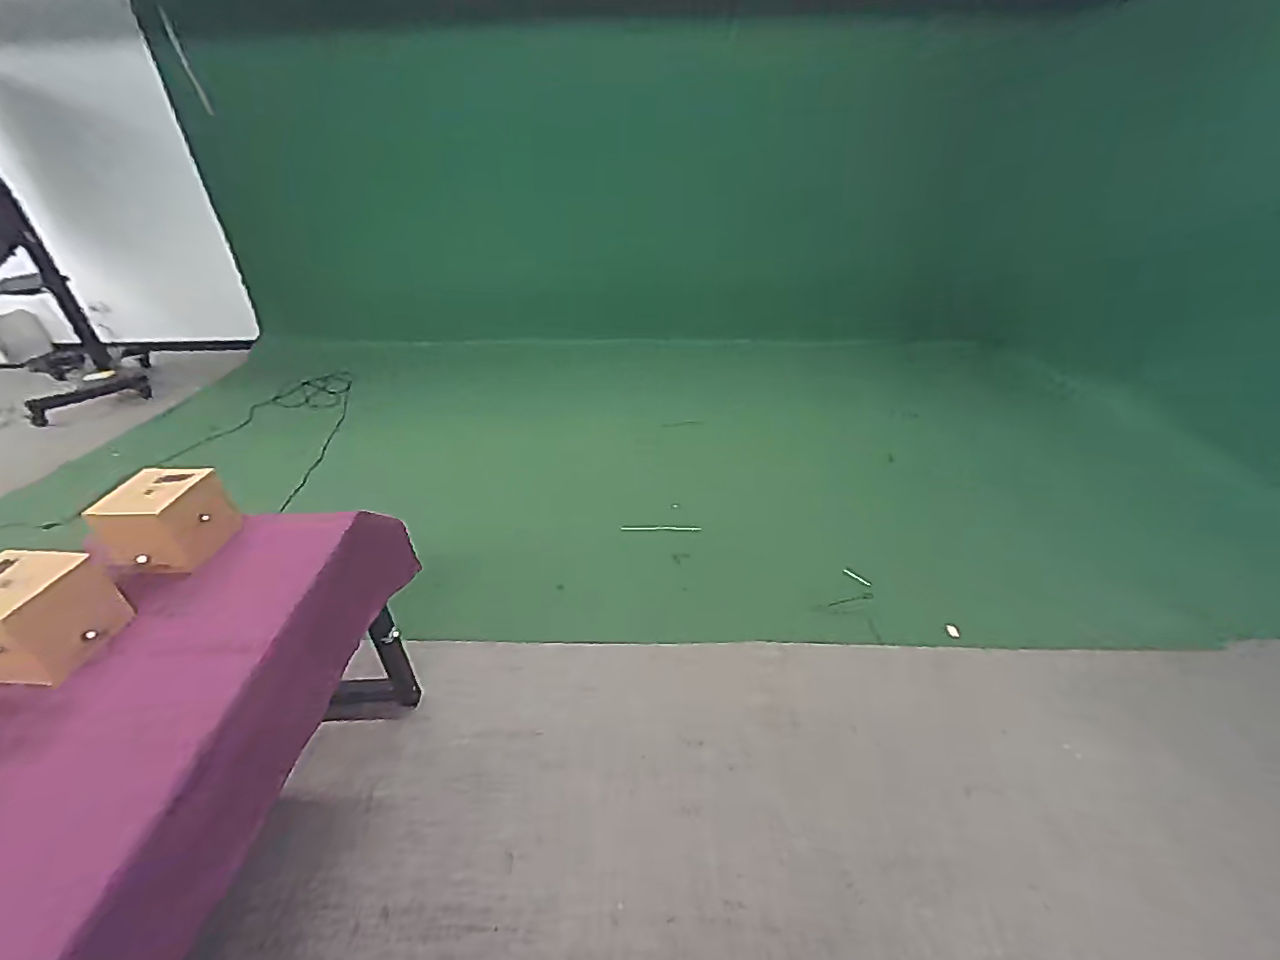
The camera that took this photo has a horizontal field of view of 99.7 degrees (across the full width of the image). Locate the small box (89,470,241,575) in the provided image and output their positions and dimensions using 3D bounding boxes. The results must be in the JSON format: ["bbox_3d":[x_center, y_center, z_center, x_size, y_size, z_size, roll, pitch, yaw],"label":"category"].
[{"bbox_3d":[-1.054,0.094,1.225,0.168,0.176,0.179,0,35,2],"label":"small box"}]
